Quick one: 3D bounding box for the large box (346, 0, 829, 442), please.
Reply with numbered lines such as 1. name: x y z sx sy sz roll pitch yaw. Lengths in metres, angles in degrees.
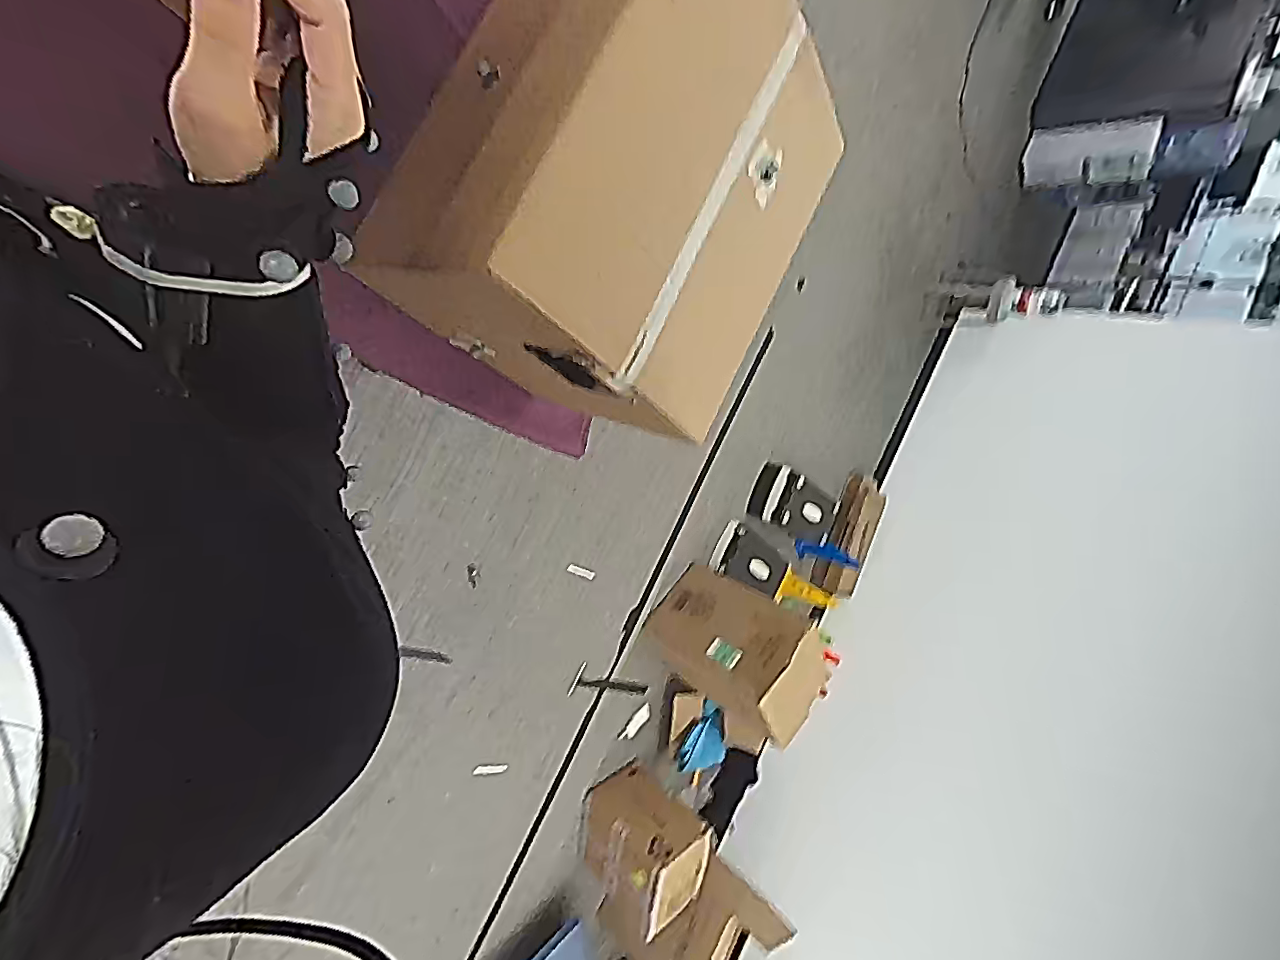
1. large box: -0.049 -0.307 0.610 0.320 0.320 0.408 33 80 -49
